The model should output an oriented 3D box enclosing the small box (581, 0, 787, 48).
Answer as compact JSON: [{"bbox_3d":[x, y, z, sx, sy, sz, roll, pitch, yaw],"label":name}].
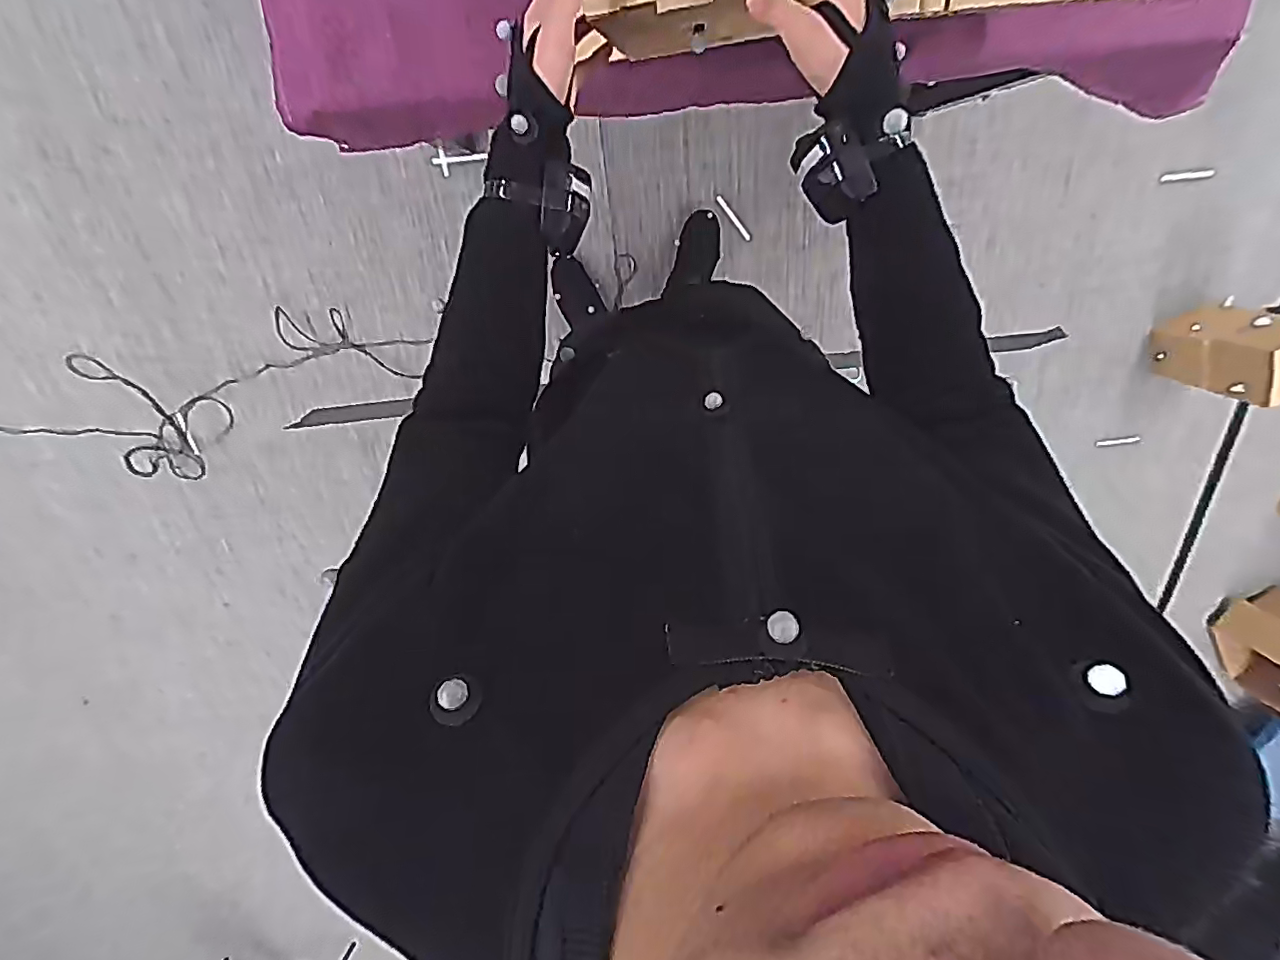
[{"bbox_3d":[0.041,-0.489,0.451,0.168,0.176,0.179,0,118,13],"label":"small box"}]
